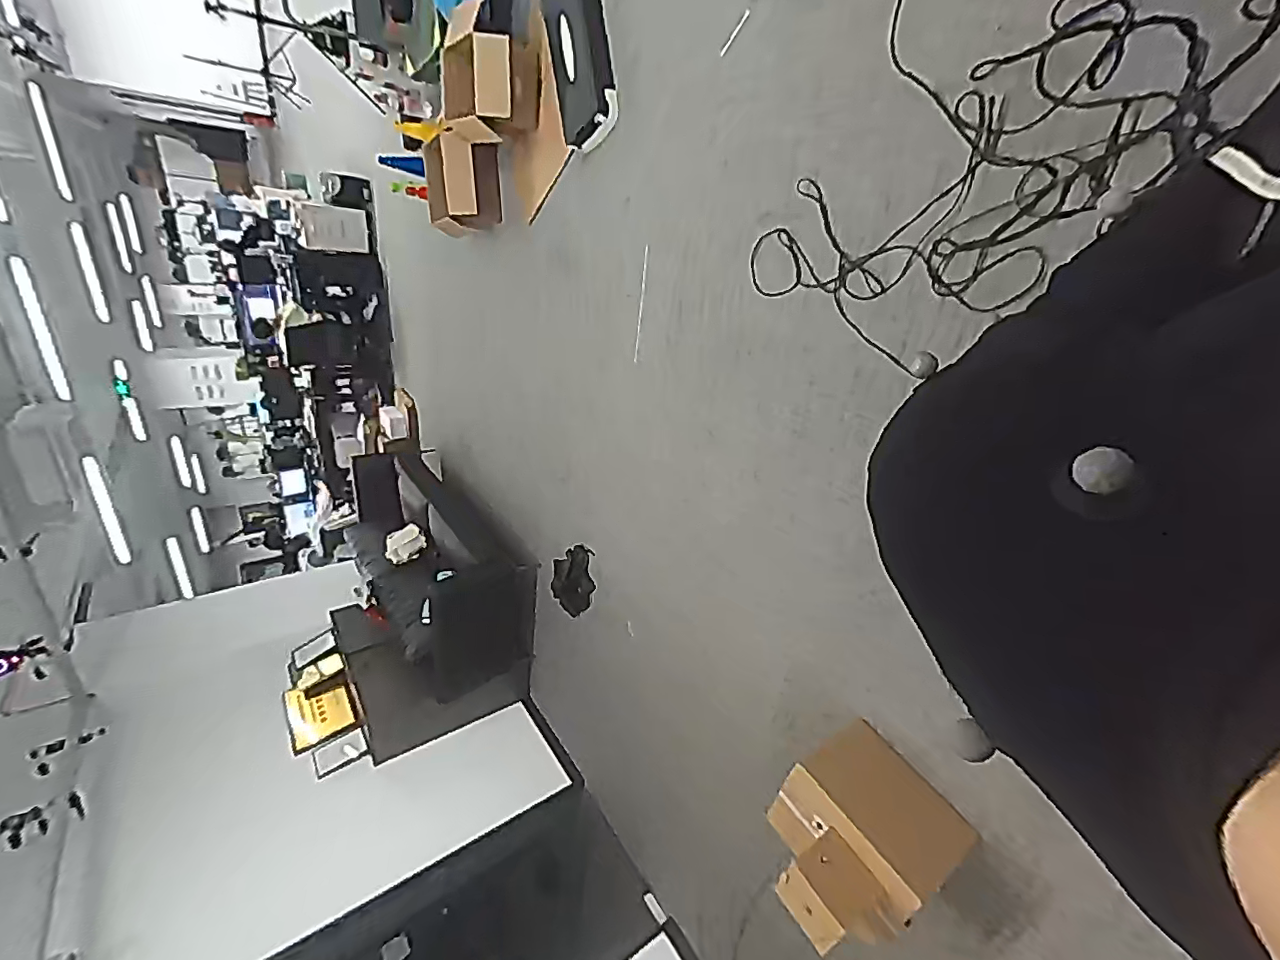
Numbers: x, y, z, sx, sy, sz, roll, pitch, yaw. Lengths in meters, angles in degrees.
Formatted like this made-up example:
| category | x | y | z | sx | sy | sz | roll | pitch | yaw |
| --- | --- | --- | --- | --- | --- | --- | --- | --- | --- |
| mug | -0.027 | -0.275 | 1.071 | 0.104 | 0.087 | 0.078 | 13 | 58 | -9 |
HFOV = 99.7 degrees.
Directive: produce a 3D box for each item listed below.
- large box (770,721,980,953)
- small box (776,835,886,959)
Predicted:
| category | x | y | z | sx | sy | sz | roll | pitch | yaw |
| --- | --- | --- | --- | --- | --- | --- | --- | --- | --- |
| large box | 0.662 | 1.005 | 1.566 | 0.408 | 0.320 | 0.320 | 43 | 132 | 41 |
| small box | 0.491 | 1.064 | 1.398 | 0.179 | 0.176 | 0.168 | 42 | 134 | 39 |
